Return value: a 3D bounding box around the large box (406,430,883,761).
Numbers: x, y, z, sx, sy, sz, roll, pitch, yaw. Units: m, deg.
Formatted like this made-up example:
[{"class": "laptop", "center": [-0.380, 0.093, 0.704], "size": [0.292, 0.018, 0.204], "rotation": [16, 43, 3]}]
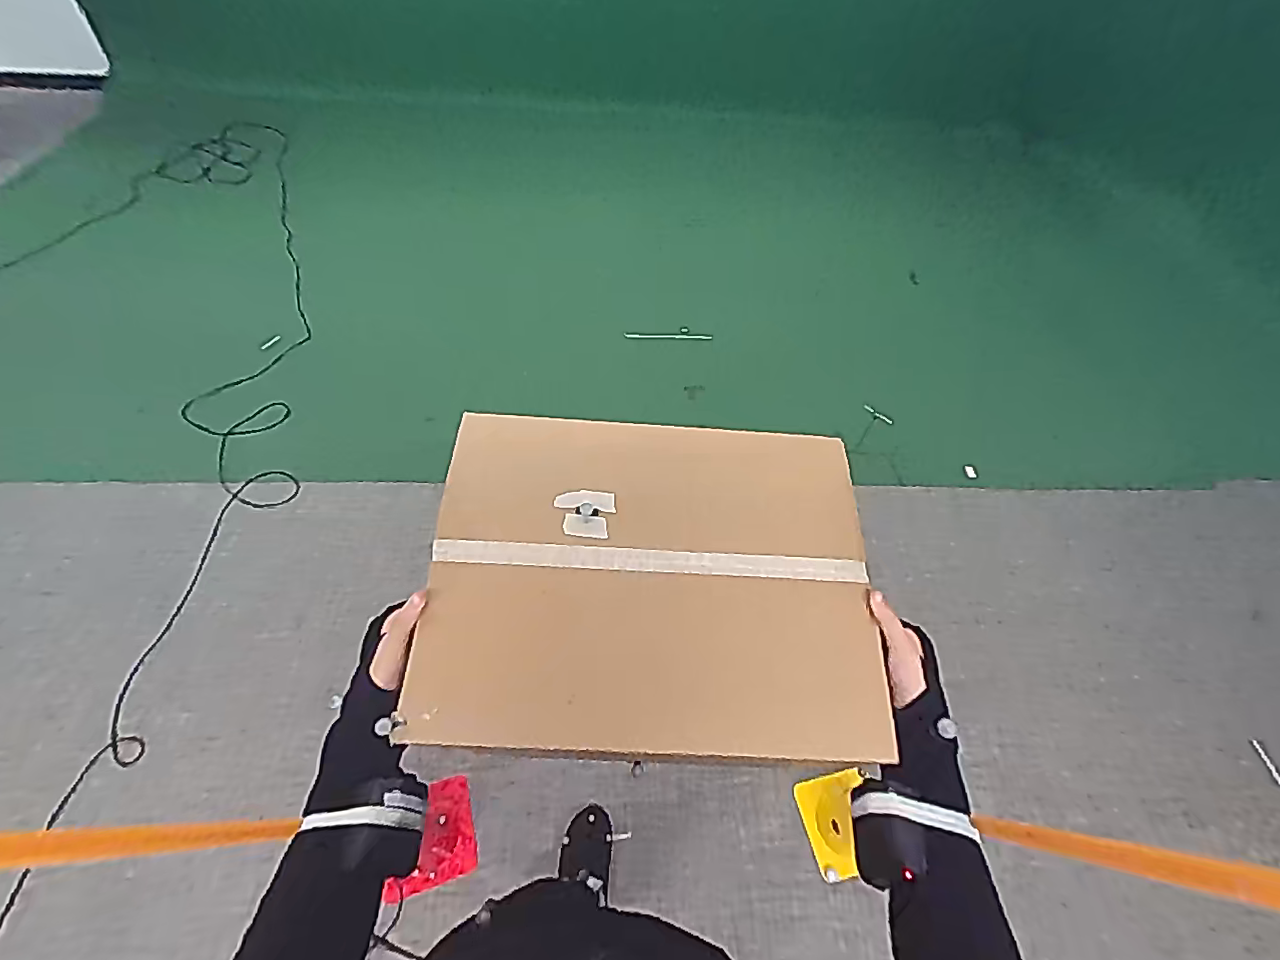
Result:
[{"class": "large box", "center": [0.005, 0.157, 0.645], "size": [0.408, 0.320, 0.320], "rotation": [3, 61, -1]}]
